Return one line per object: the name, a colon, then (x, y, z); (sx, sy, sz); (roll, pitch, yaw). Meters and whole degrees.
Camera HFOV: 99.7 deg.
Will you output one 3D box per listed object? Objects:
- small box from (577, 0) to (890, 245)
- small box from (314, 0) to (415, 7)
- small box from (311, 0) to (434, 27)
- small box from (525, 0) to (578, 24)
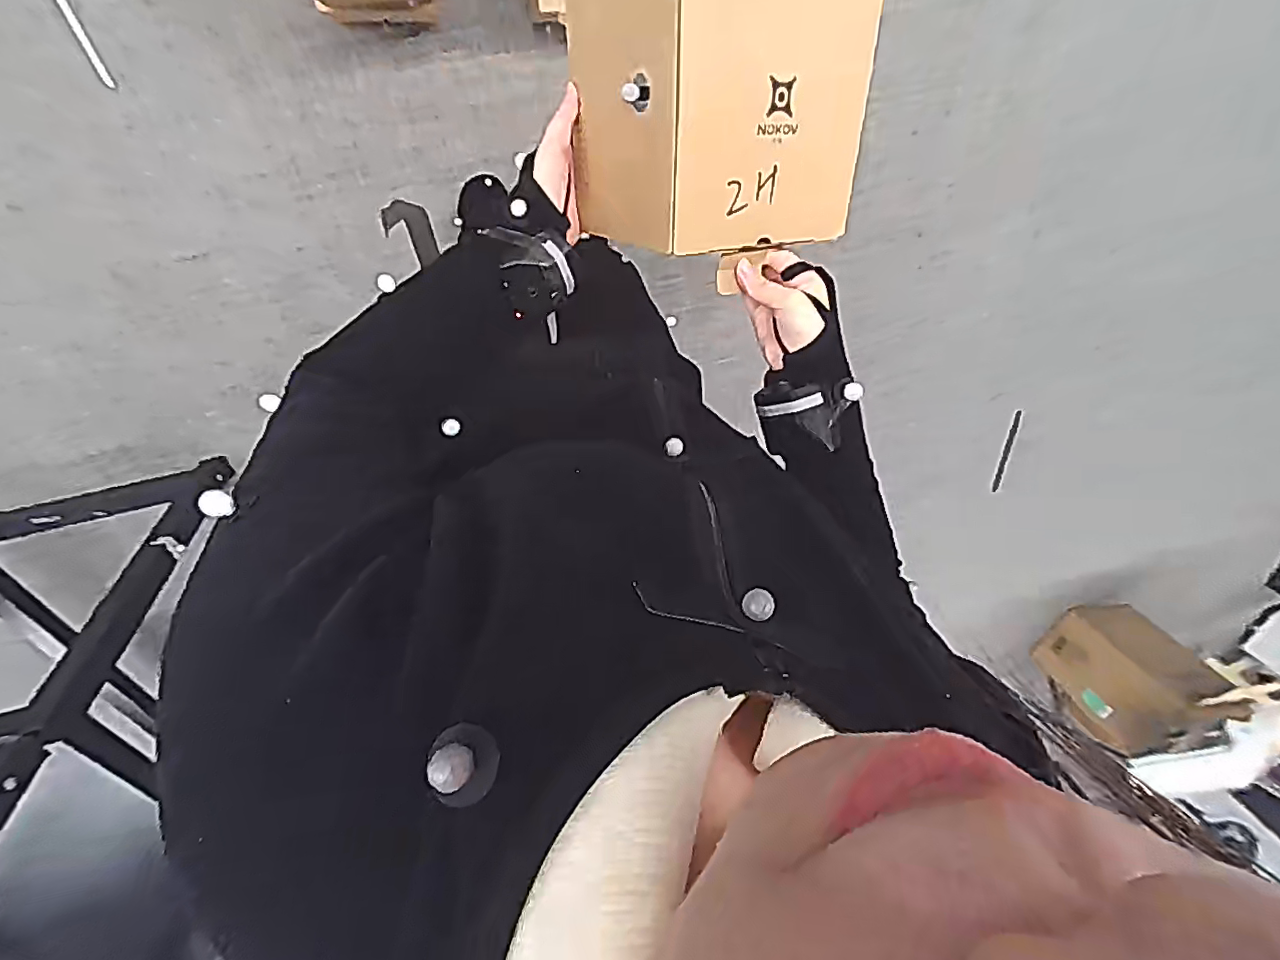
small box: (0.058, -0.290, 0.424); (0.168, 0.176, 0.179); (-16, 124, -26)
small box: (-0.383, -0.752, 0.718); (0.179, 0.176, 0.168); (-13, 127, -9)
small box: (-0.434, -0.831, 0.852); (0.179, 0.176, 0.168); (-11, 127, -12)
small box: (-0.114, -0.892, 0.918); (0.168, 0.176, 0.179); (-10, 126, -12)
